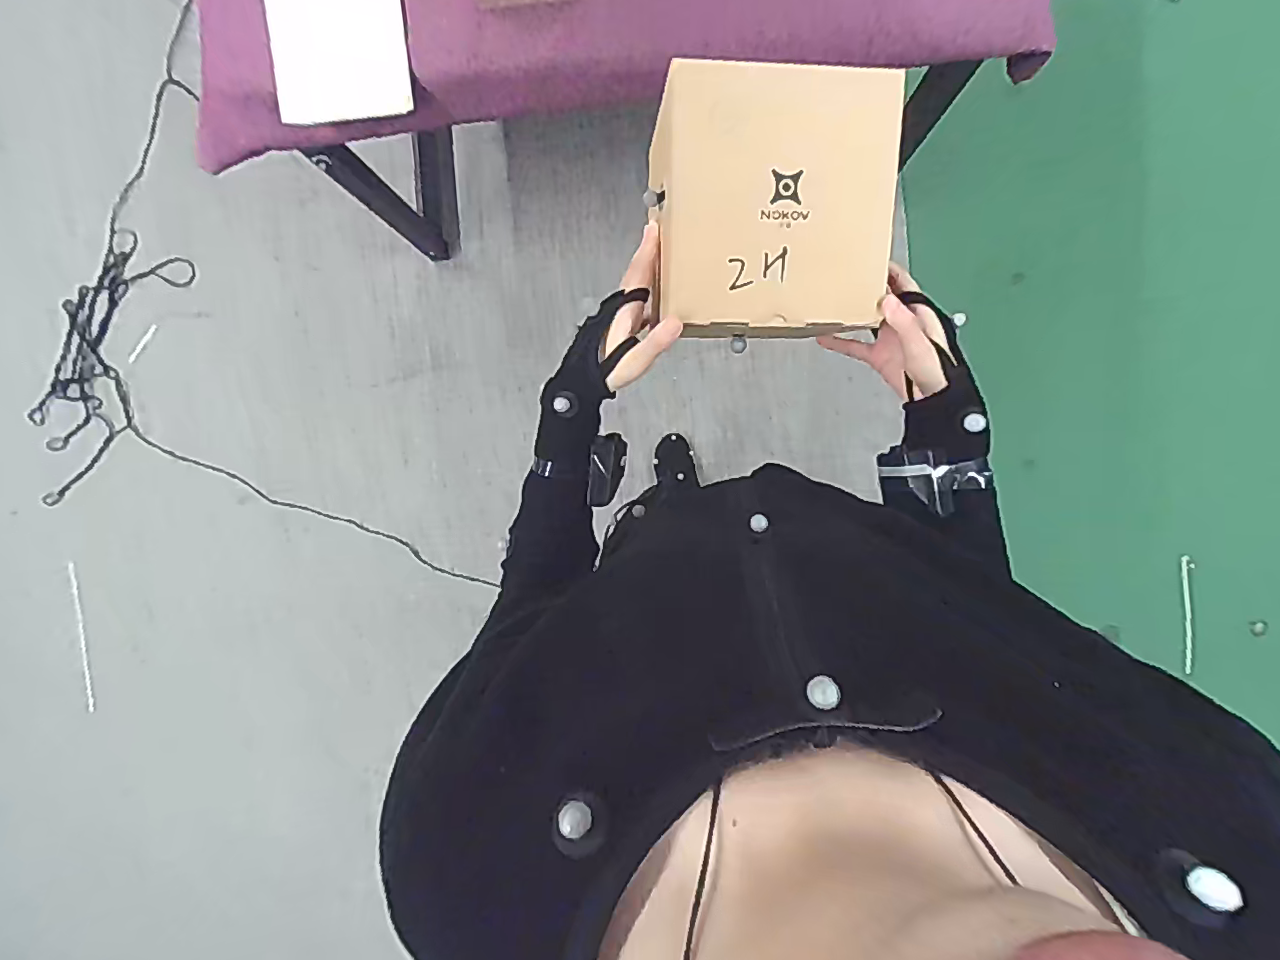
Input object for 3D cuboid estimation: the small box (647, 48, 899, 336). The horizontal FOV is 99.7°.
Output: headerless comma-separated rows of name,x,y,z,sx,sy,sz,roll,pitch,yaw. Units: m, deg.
small box,0.095,-0.224,0.469,0.168,0.176,0.179,0,101,-4
